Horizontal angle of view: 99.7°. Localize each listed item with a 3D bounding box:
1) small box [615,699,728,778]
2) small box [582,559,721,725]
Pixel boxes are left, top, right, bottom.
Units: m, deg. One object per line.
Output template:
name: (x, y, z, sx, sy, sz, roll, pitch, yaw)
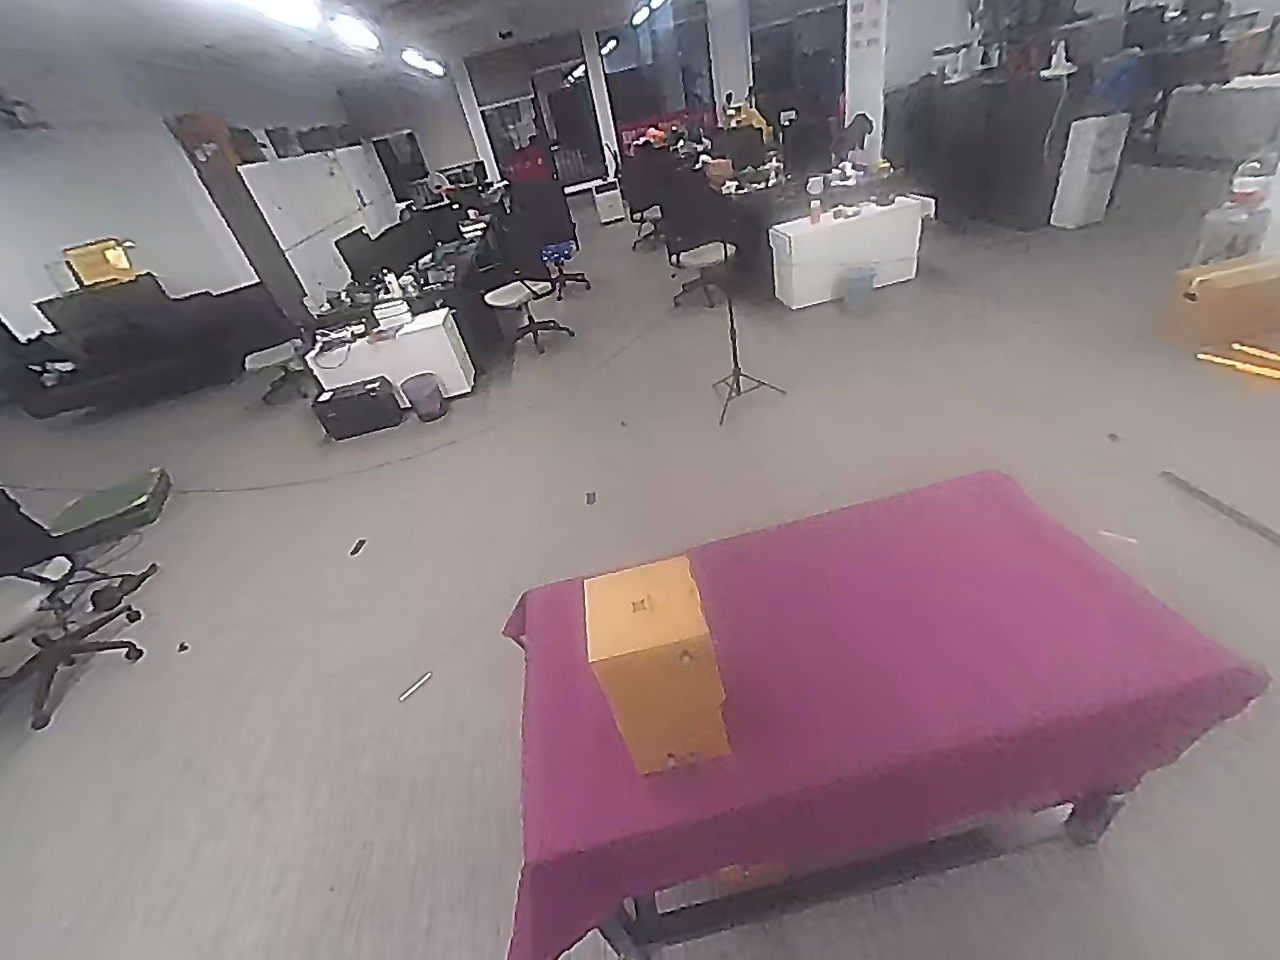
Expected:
small box: (0.047, 0.382, 0.948, 0.168, 0.176, 0.179, -15, 36, 1)
small box: (0.017, 0.256, 0.850, 0.179, 0.176, 0.168, -14, 35, 1)
